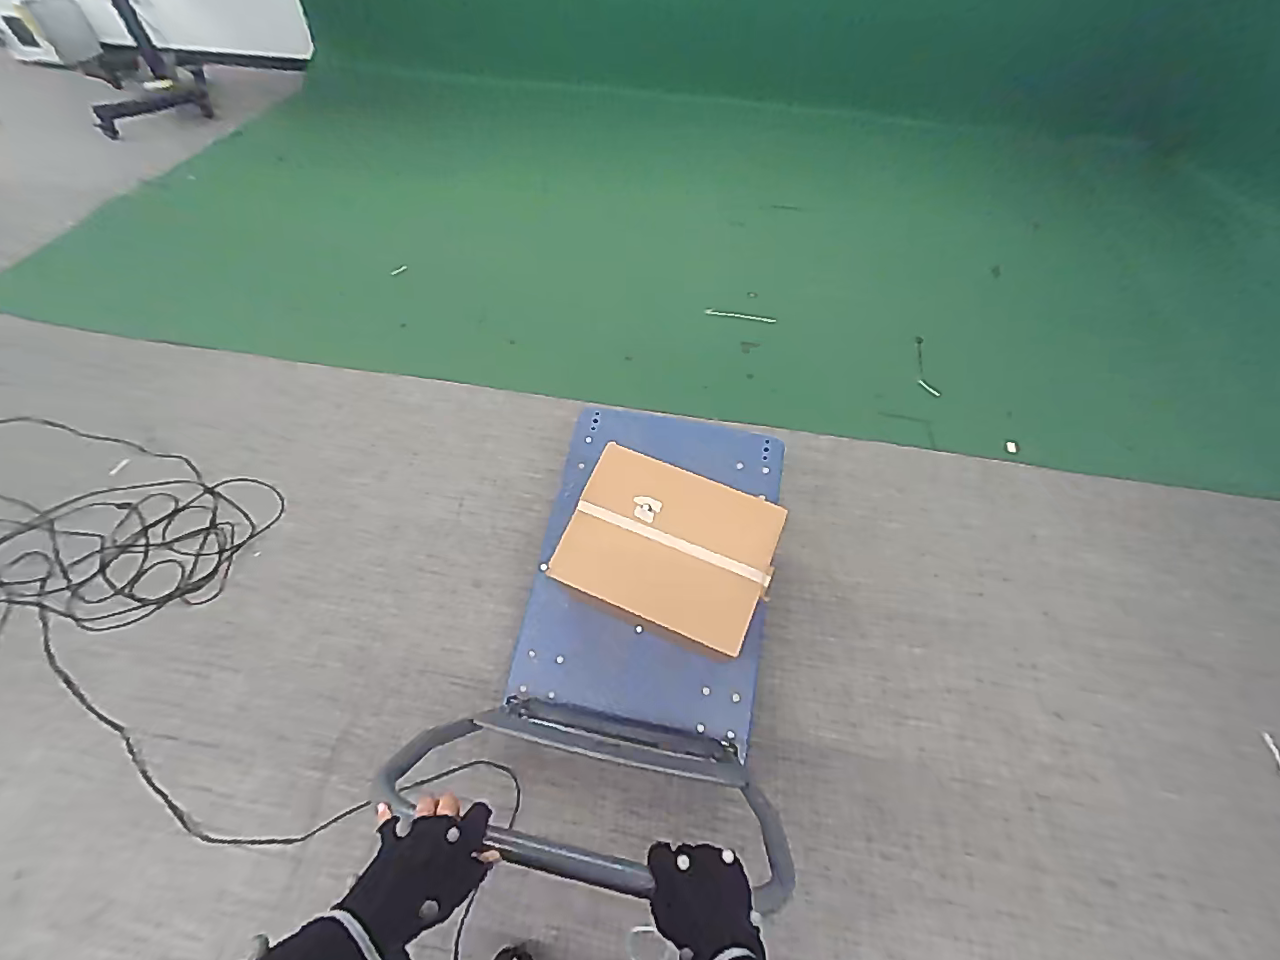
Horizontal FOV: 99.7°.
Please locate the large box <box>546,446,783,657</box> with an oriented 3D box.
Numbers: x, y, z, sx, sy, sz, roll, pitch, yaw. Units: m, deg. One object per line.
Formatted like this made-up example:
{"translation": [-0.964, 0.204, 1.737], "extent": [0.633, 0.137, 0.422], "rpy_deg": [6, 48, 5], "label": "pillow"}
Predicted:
{"translation": [0.063, 0.176, 1.220], "extent": [0.408, 0.320, 0.320], "rpy_deg": [21, 72, 11], "label": "large box"}
